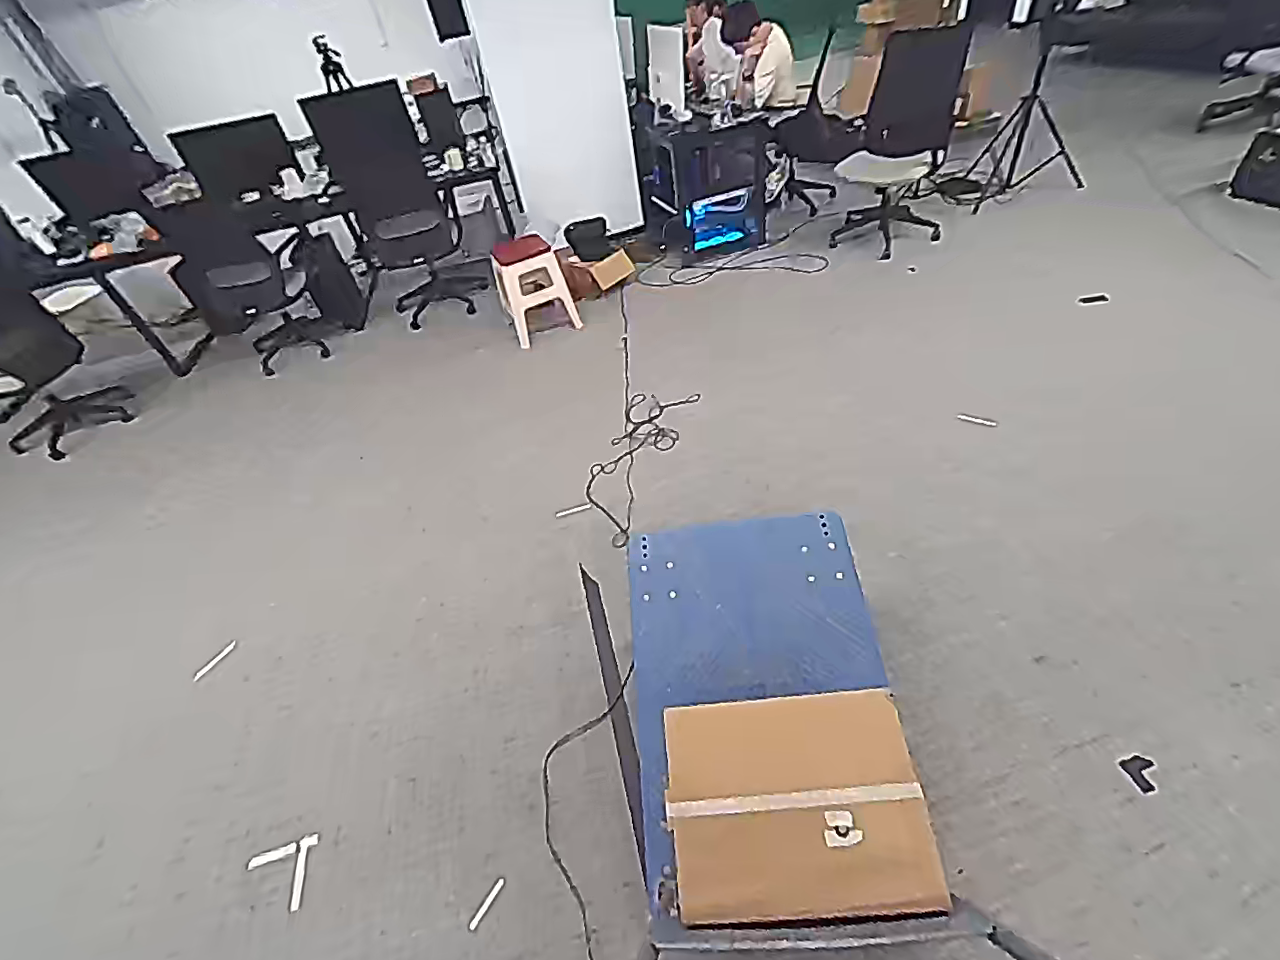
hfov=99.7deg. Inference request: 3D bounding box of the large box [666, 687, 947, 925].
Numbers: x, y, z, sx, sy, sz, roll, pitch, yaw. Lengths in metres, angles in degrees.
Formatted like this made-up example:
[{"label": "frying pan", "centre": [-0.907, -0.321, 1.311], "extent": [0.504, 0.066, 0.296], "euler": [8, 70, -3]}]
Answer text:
[{"label": "large box", "centre": [0.276, 0.605, 1.031], "extent": [0.408, 0.320, 0.320], "euler": [-8, 60, 4]}]
